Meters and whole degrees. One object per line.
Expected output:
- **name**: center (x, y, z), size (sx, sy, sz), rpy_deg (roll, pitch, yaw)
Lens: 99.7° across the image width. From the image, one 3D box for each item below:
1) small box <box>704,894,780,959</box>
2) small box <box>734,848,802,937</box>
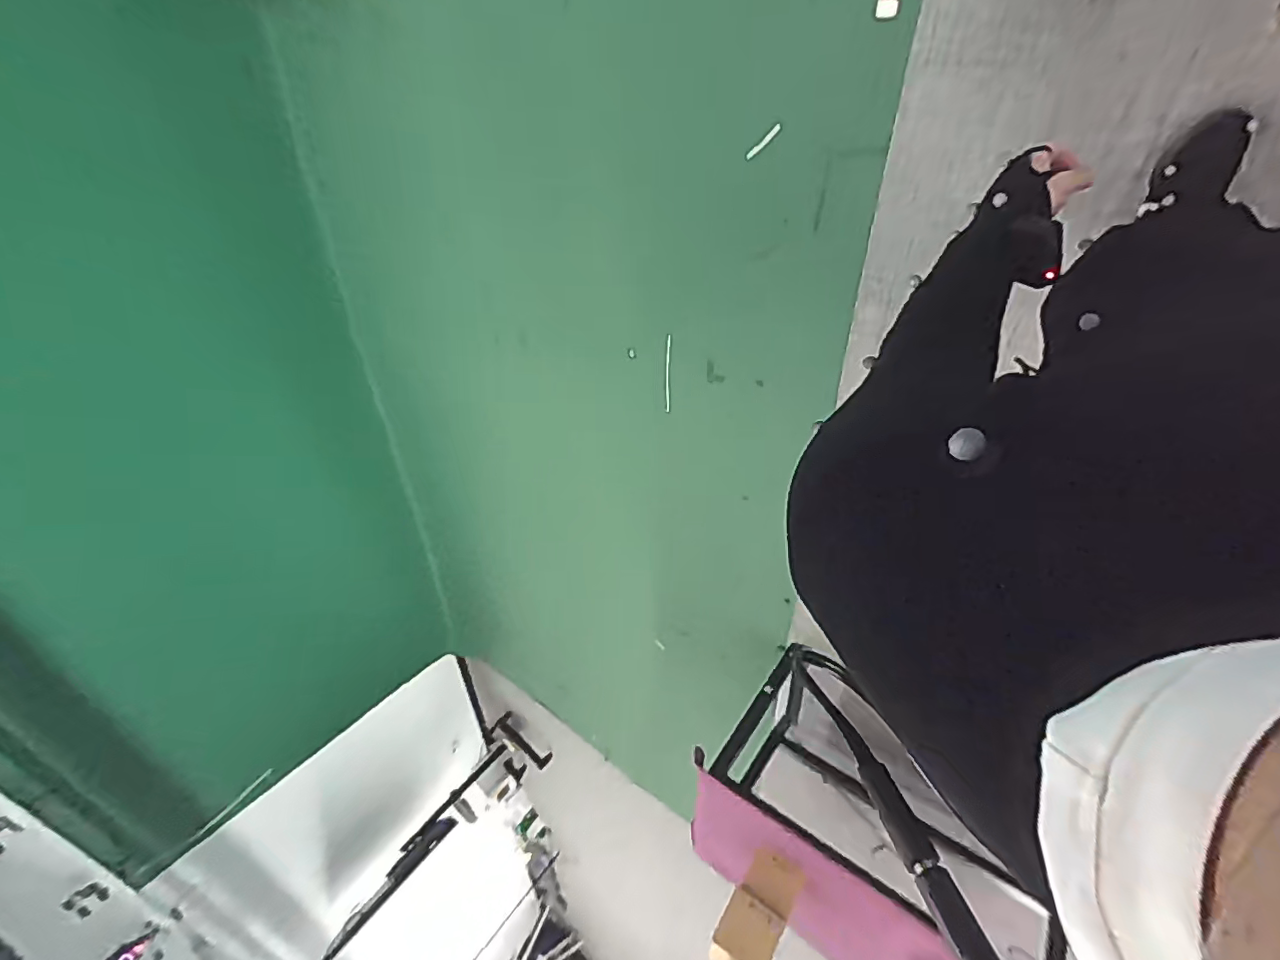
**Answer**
- **small box**: center (0.307, 1.404, 1.627), size (0.168, 0.176, 0.179), rpy_deg (21, 131, 31)
- **small box**: center (0.406, 1.346, 1.745), size (0.168, 0.176, 0.179), rpy_deg (23, 131, 29)
